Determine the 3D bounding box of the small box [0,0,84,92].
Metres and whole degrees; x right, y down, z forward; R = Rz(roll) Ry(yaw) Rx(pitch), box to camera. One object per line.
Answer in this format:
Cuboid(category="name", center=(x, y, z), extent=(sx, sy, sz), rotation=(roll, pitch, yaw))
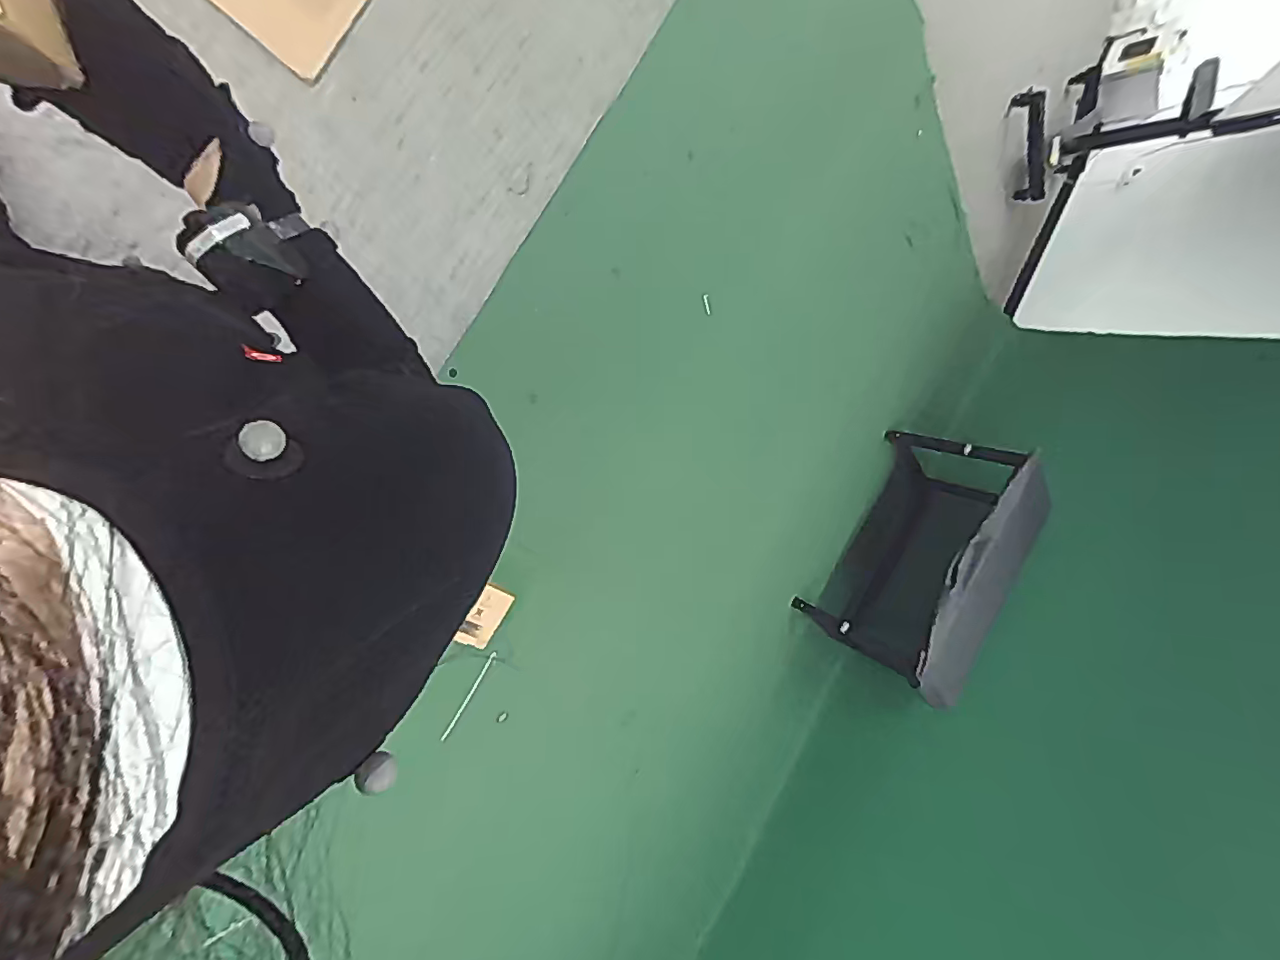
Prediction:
Cuboid(category="small box", center=(-0.366, -0.272, 0.204), extent=(0.168, 0.176, 0.179), rotation=(-17, 122, -30))
